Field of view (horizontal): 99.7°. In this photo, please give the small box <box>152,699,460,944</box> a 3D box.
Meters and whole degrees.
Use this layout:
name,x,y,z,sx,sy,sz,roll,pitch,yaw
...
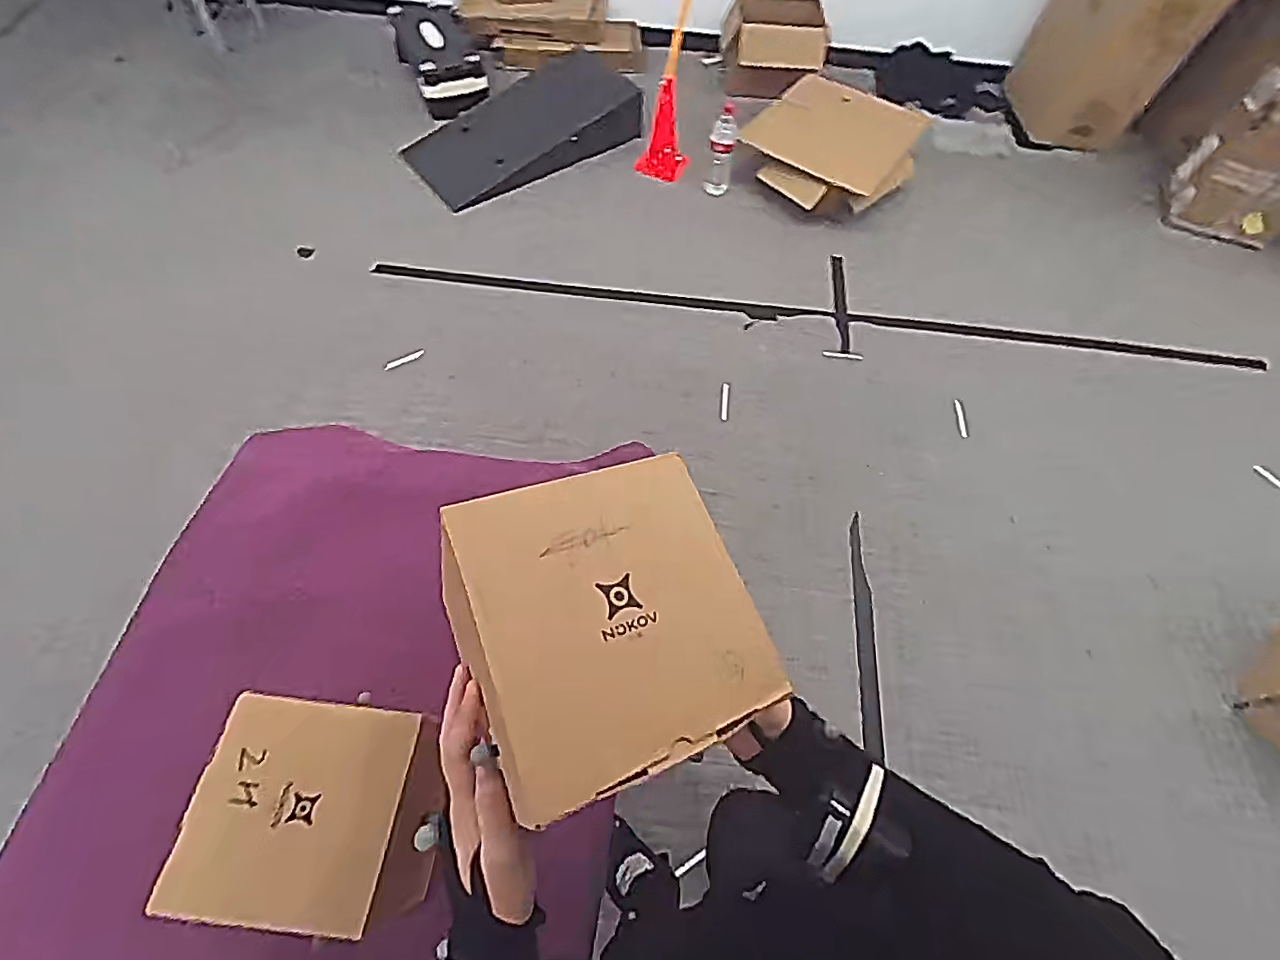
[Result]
name,x,y,z,sx,sy,sz,roll,pitch,yaw
small box,-0.297,0.323,0.535,0.179,0.176,0.168,7,61,1

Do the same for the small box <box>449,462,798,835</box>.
name,x,y,z,sx,sy,sz,roll,pitch,yaw
small box,-0.030,0.116,0.386,0.168,0.176,0.179,-14,66,-26
